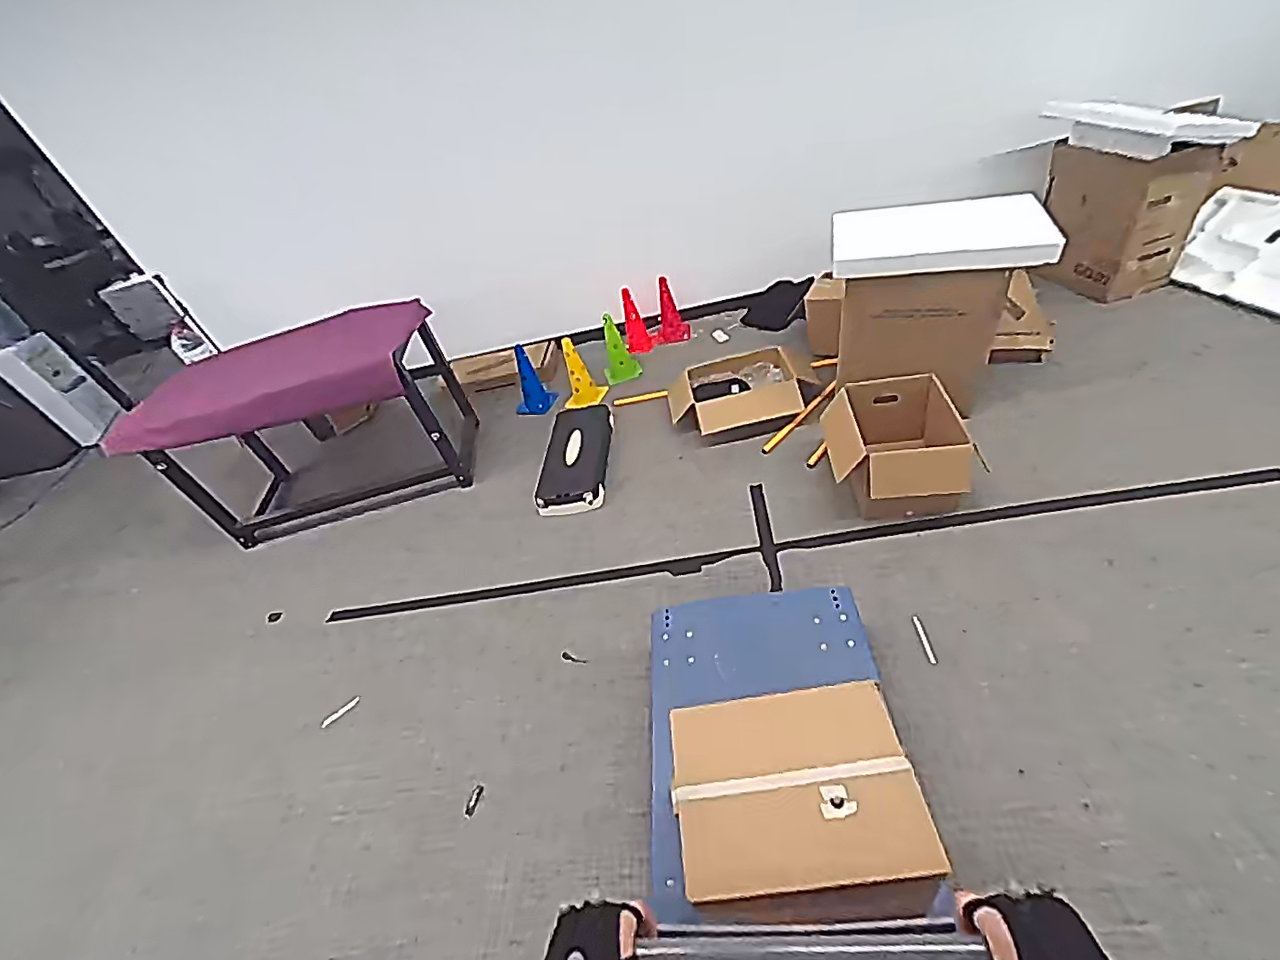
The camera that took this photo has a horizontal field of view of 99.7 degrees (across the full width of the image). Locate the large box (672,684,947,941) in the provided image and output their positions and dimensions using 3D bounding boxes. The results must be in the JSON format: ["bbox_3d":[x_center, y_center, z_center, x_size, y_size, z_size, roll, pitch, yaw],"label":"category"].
[{"bbox_3d":[0.294,0.641,1.042,0.408,0.320,0.320,-11,41,5],"label":"large box"}]
